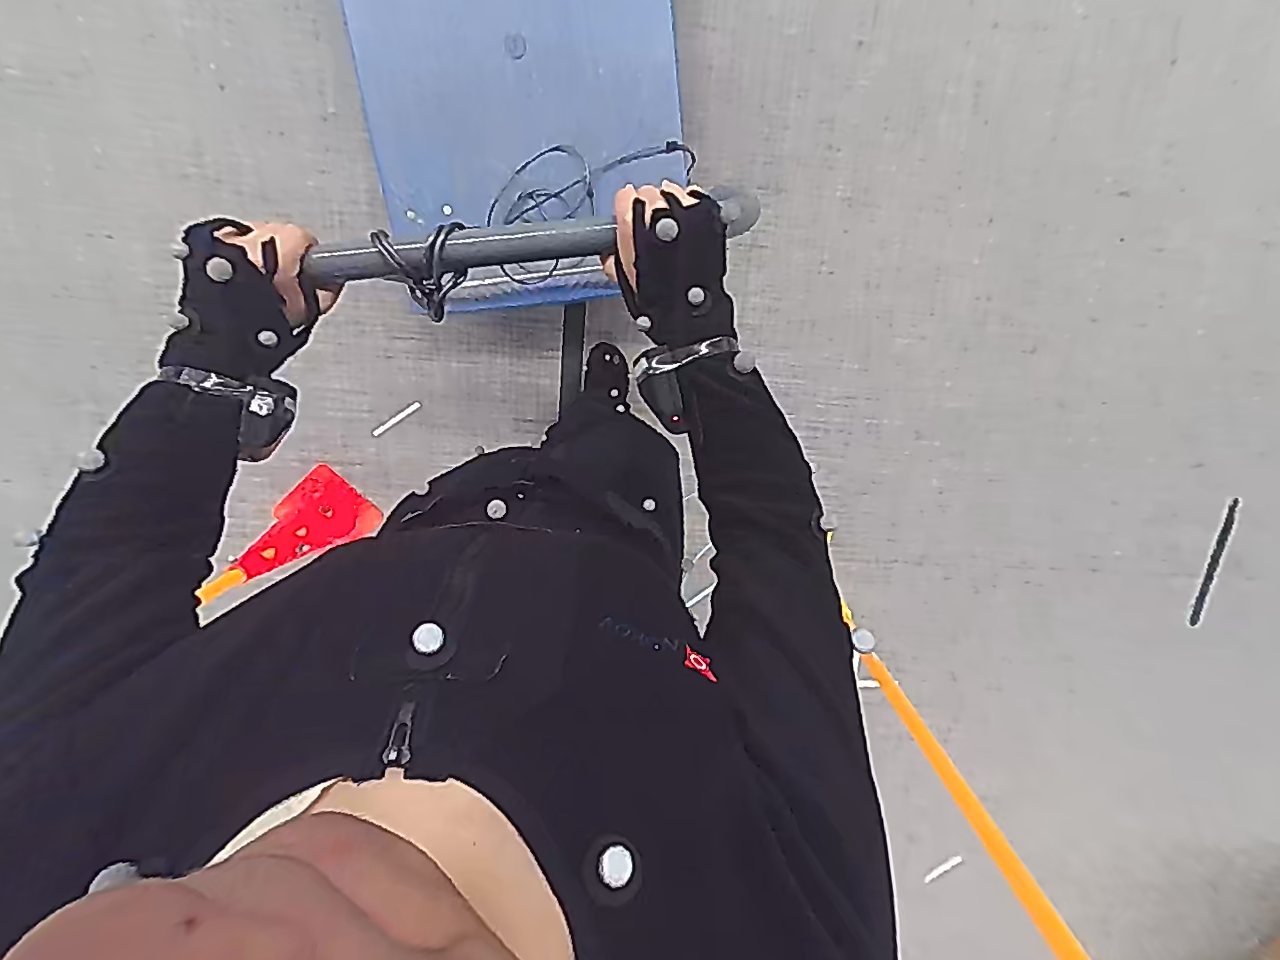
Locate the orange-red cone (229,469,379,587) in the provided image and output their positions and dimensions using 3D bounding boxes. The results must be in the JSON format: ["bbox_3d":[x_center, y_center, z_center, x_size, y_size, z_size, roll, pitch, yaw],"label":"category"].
[{"bbox_3d":[-0.768,0.137,1.182,0.199,0.360,0.198,-40,105,6],"label":"orange-red cone"}]
